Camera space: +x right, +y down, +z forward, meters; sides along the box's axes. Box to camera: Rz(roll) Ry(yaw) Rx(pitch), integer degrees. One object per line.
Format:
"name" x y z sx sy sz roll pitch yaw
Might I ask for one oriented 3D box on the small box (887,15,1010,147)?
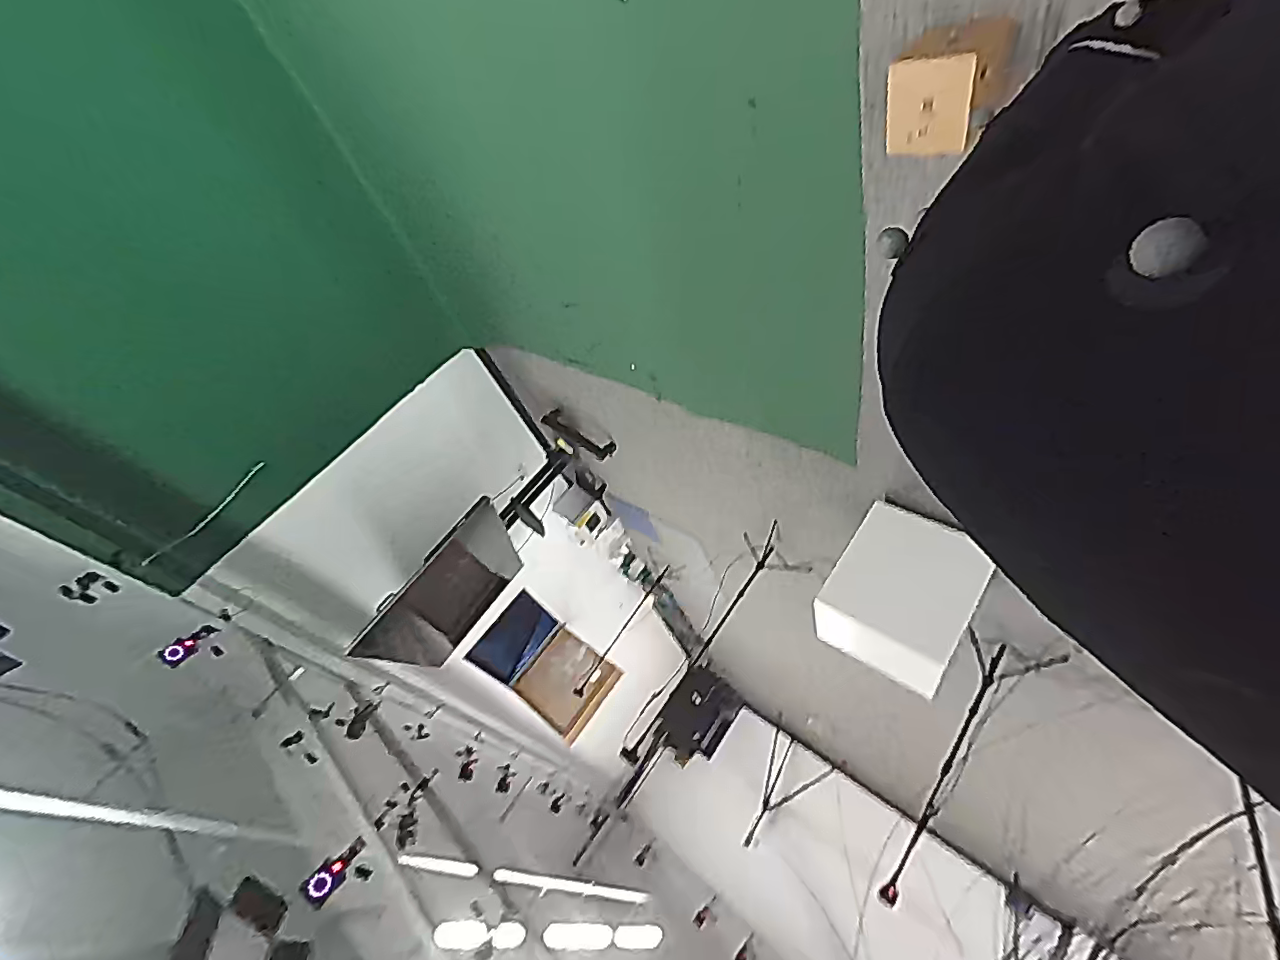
"small box" 0.635 -0.824 1.119 0.168 0.176 0.179 26 156 37
